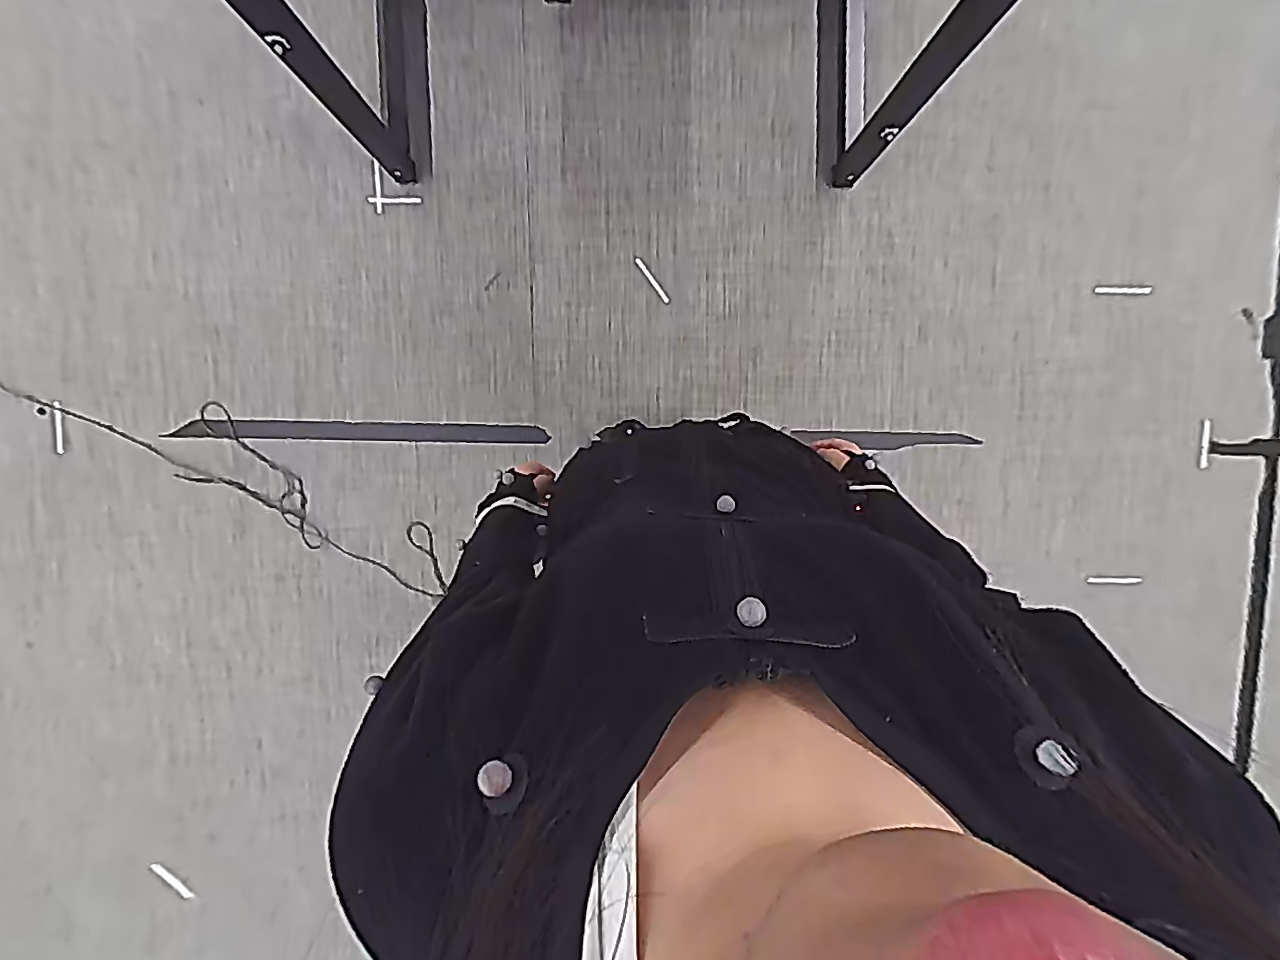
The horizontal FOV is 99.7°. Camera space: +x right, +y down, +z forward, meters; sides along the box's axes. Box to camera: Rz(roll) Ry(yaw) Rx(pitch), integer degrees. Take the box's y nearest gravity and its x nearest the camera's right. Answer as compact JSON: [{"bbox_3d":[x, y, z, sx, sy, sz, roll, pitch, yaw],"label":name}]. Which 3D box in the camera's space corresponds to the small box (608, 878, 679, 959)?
[{"bbox_3d":[0.009,1.252,1.502,0.168,0.176,0.179,-14,95,0],"label":"small box"}]

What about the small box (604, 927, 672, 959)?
[{"bbox_3d":[0.008,1.274,1.339,0.168,0.176,0.179,-13,95,-2],"label":"small box"}]
